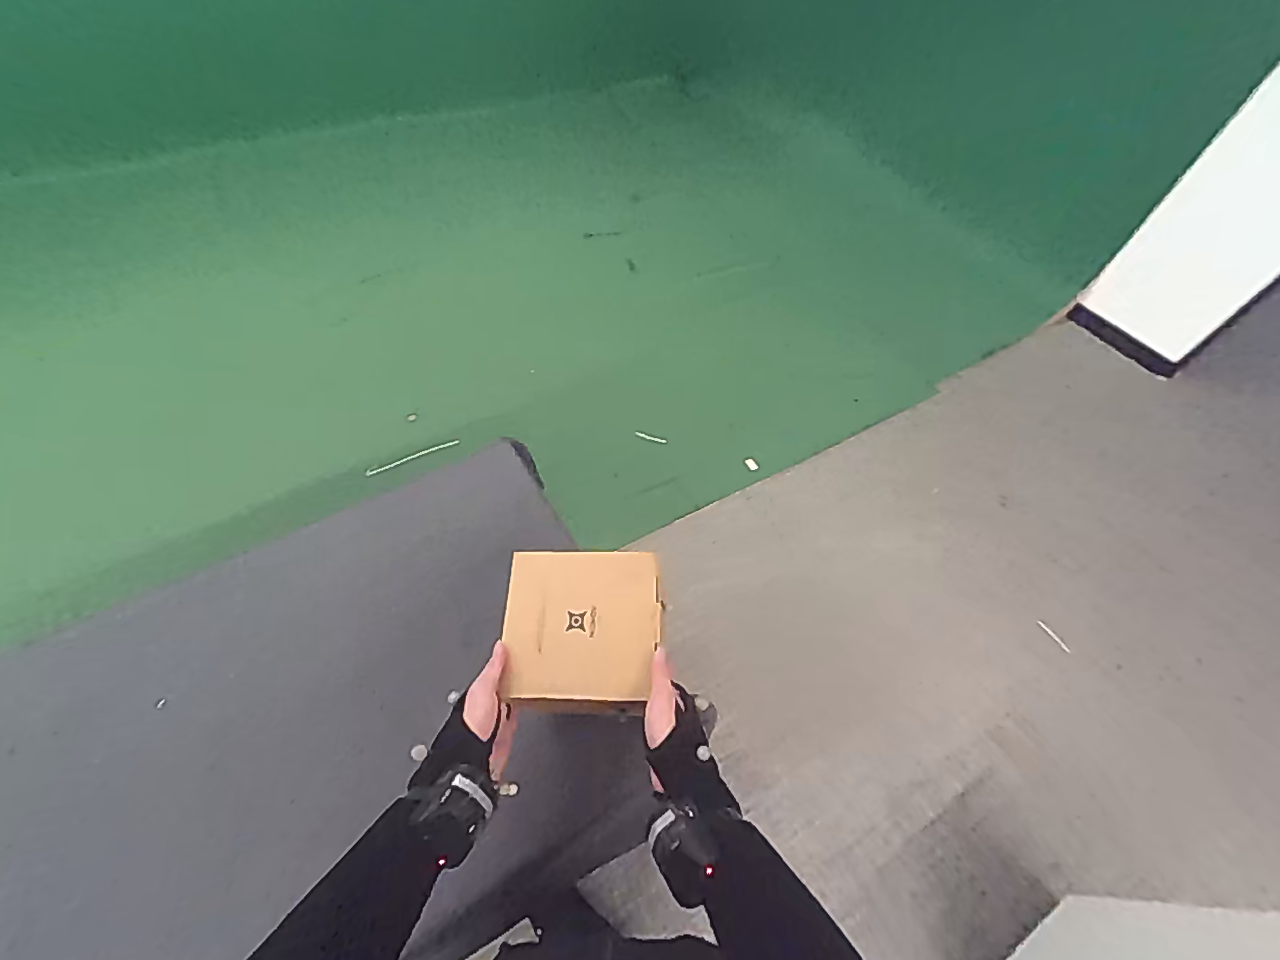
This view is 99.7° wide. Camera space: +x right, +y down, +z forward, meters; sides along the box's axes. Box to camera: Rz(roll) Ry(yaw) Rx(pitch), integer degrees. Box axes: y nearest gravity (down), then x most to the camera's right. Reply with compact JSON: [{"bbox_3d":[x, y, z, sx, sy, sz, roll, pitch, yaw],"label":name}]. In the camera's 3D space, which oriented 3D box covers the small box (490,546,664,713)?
[{"bbox_3d":[-0.062,0.188,0.666,0.179,0.176,0.168,-1,61,6],"label":"small box"}]
